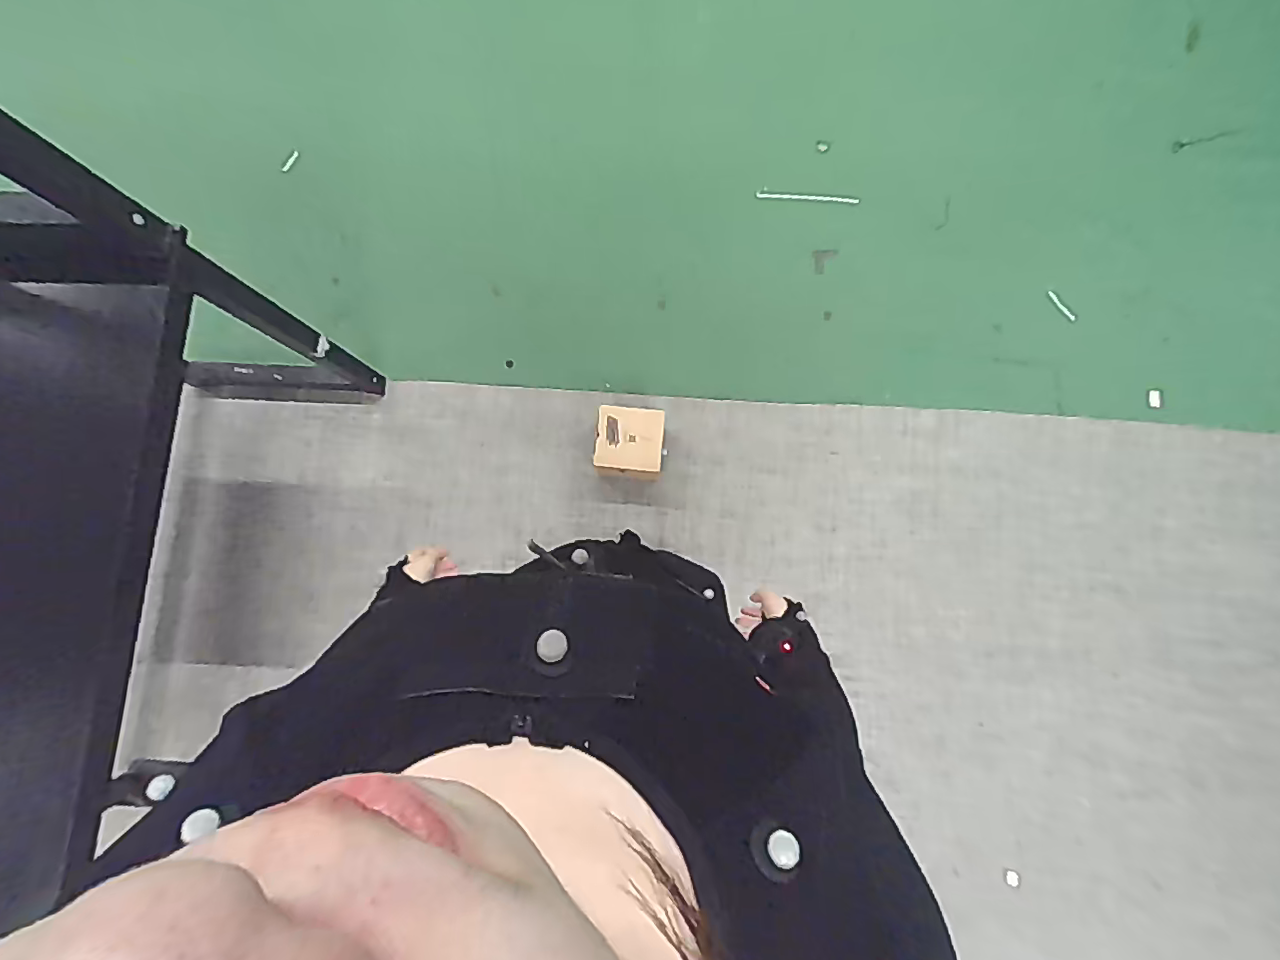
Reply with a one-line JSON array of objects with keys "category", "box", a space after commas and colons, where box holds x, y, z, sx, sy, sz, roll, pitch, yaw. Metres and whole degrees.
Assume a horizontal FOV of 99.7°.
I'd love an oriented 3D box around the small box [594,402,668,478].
[{"category": "small box", "box": [-0.022, -0.101, 1.465, 0.179, 0.176, 0.168, 7, 83, 1]}]
